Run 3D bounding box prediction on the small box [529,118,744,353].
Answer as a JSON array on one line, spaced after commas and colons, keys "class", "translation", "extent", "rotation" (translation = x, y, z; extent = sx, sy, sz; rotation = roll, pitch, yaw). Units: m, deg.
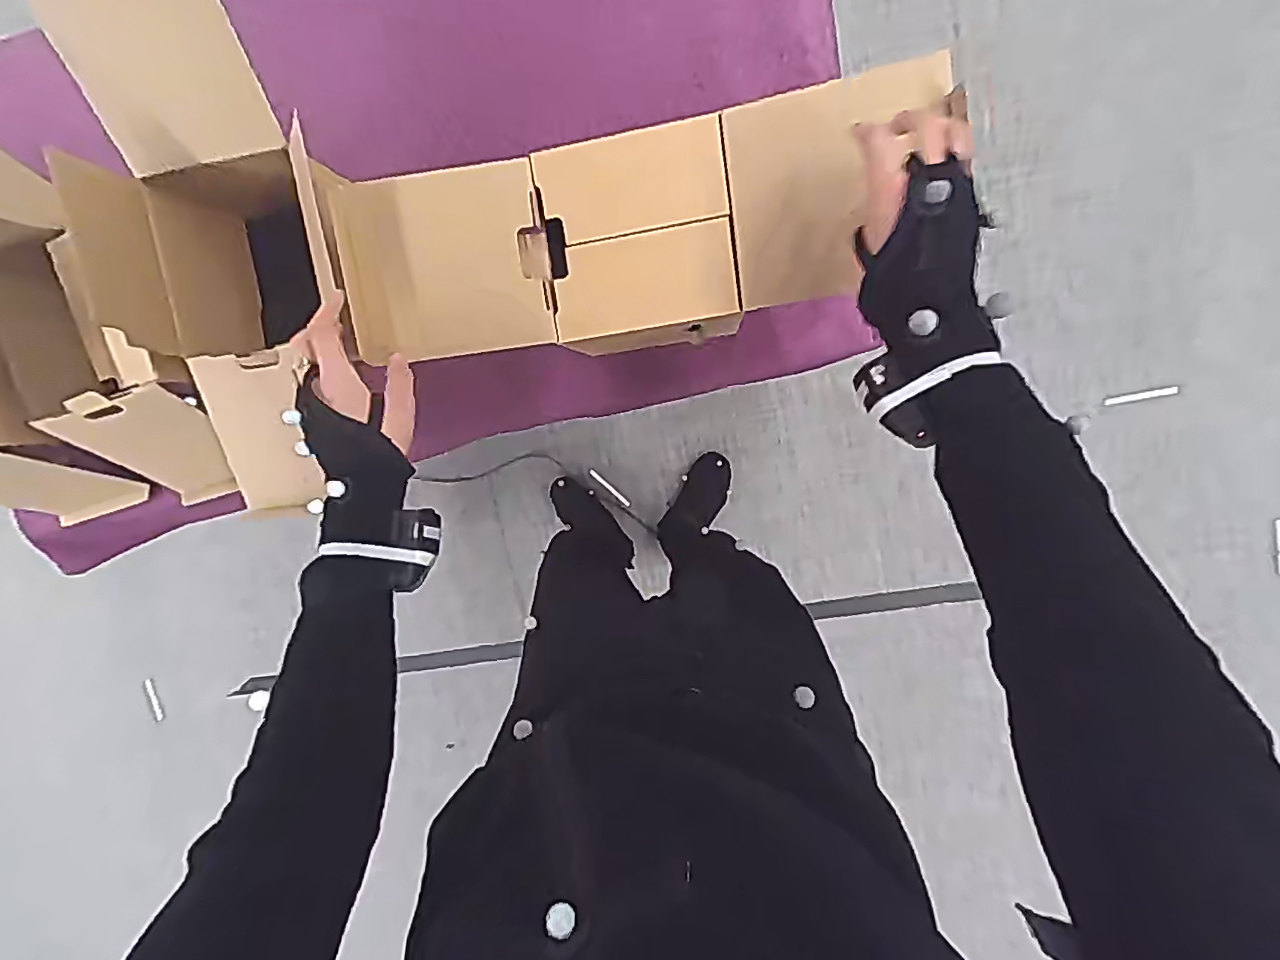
[{"class": "small box", "translation": [0.006, -0.227, 0.551], "extent": [0.179, 0.176, 0.168], "rotation": [-6, 98, 9]}]
